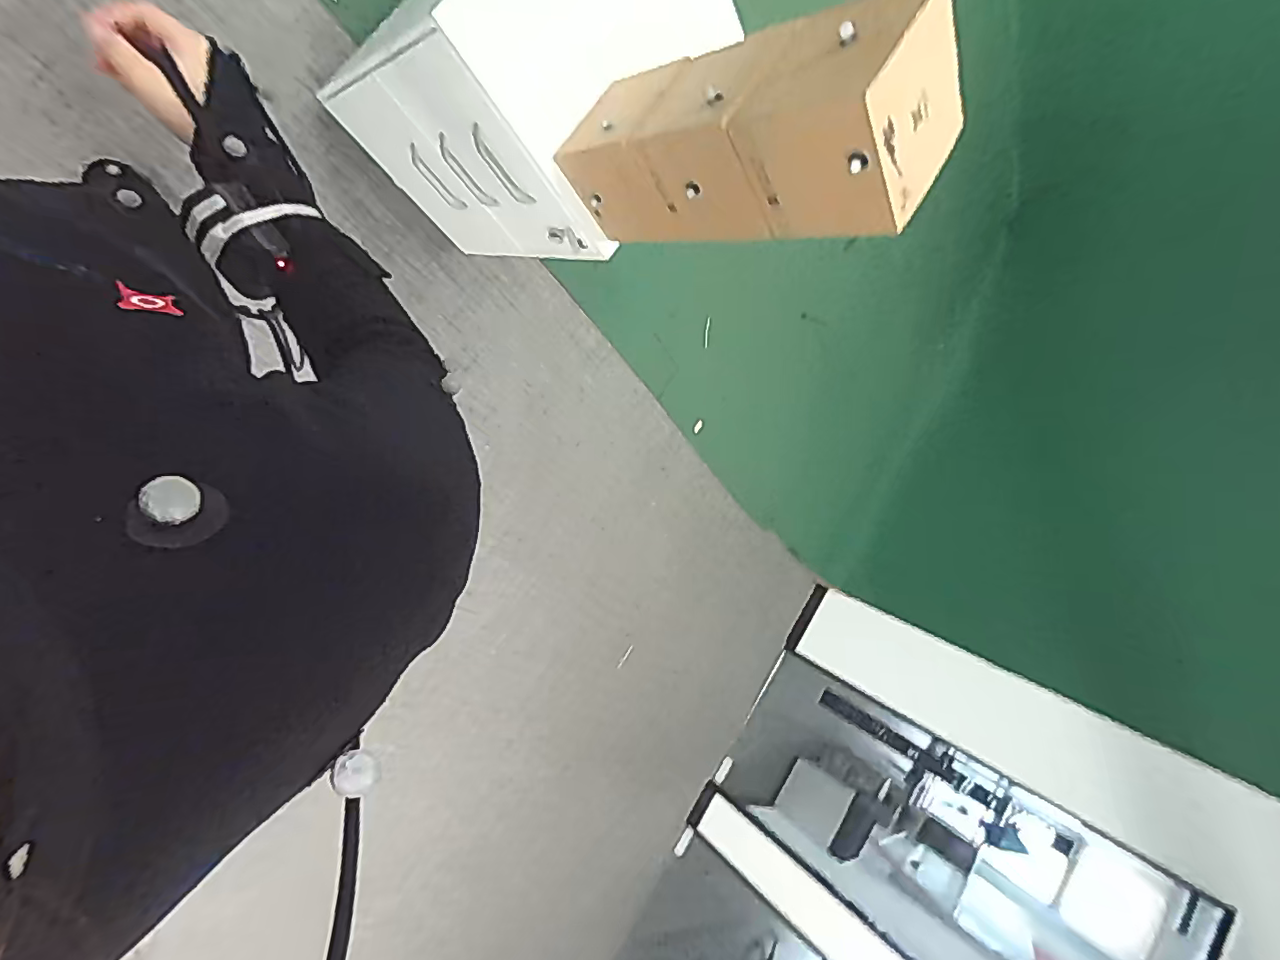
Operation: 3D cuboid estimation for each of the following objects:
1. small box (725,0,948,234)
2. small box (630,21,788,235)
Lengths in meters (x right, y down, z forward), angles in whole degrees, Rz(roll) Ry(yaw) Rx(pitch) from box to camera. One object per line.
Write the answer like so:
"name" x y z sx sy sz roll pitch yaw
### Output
"small box" 0.228 -0.413 0.626 0.168 0.176 0.179 42 76 -46
"small box" 0.111 -0.456 0.732 0.179 0.176 0.168 -57 137 -11
